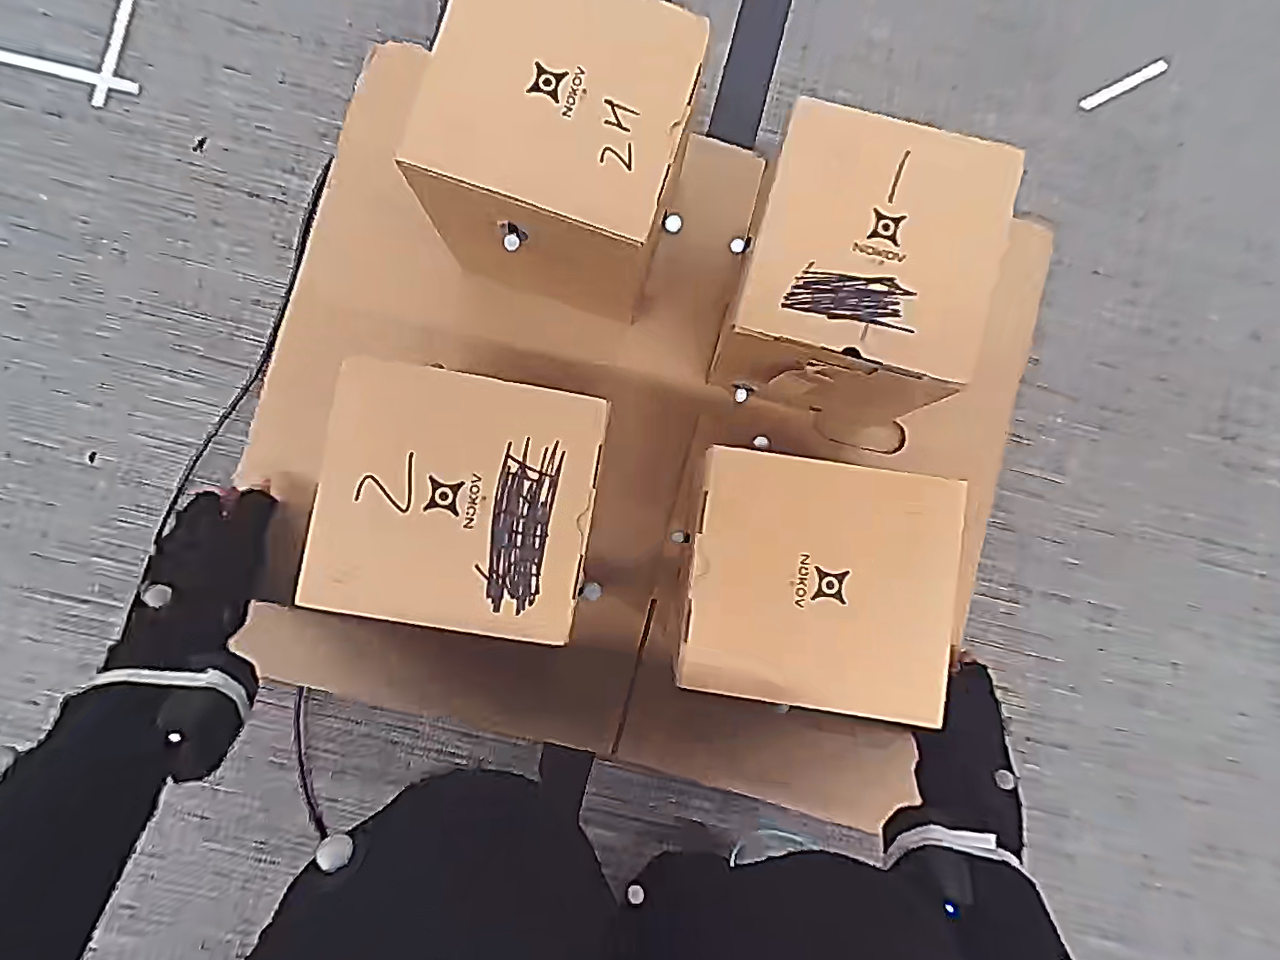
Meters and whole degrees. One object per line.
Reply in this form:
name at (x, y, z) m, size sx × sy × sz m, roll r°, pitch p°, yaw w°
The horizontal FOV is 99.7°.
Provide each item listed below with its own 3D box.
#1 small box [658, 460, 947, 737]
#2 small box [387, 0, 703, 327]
small box at (0.114, 0.082, 0.440) m, size 0.179 × 0.176 × 0.168 m, roll 7°, pitch 86°, yaw 5°
small box at (-0.068, -0.247, 0.446) m, size 0.179 × 0.176 × 0.168 m, roll 18°, pitch 87°, yaw -4°
